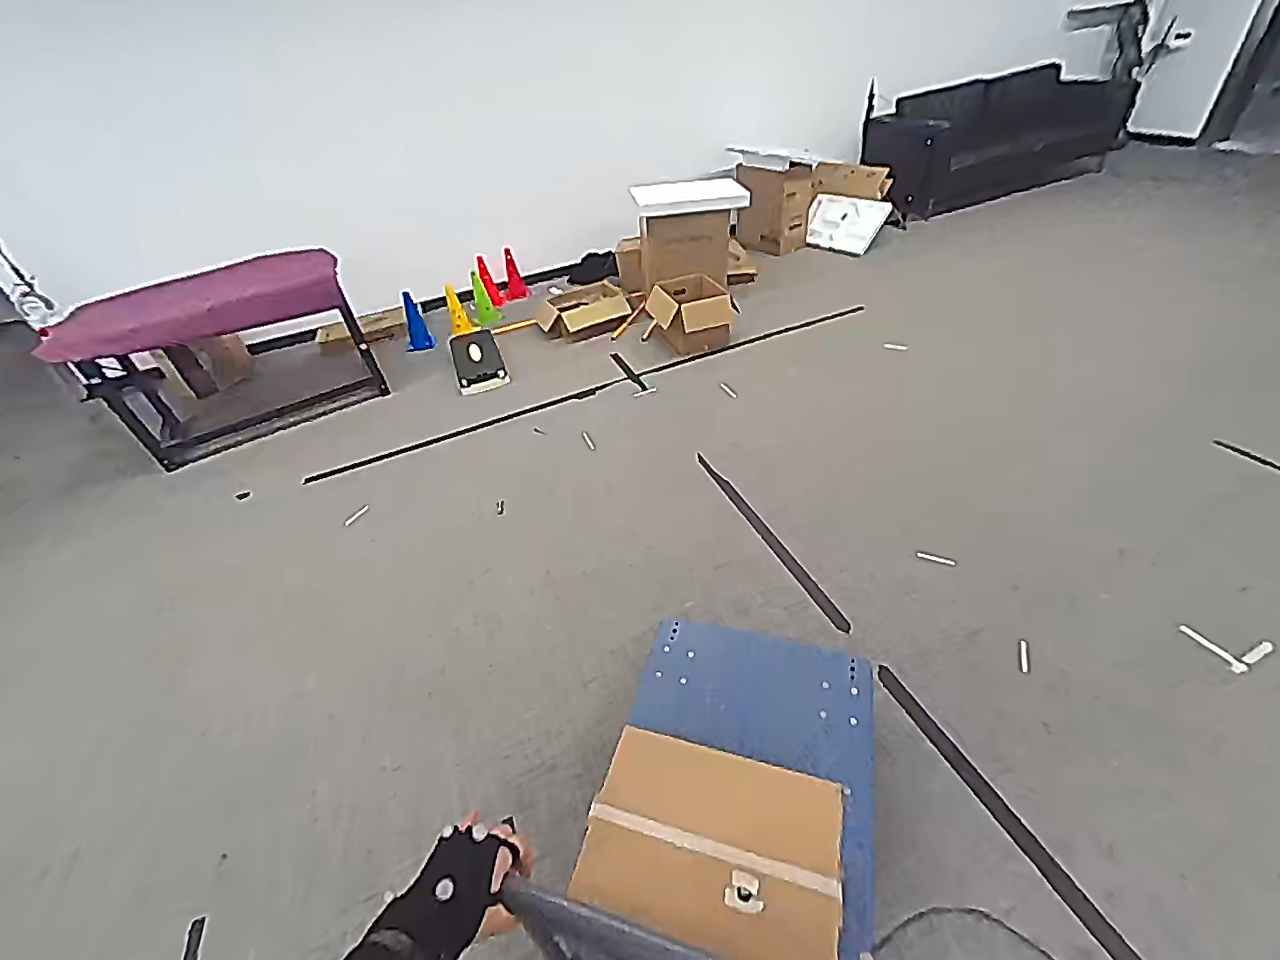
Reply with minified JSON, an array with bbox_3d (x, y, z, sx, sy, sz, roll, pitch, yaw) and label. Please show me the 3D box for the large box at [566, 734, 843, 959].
[{"bbox_3d":[0.129,0.719,0.972,0.408,0.320,0.320,8,43,17],"label":"large box"}]
